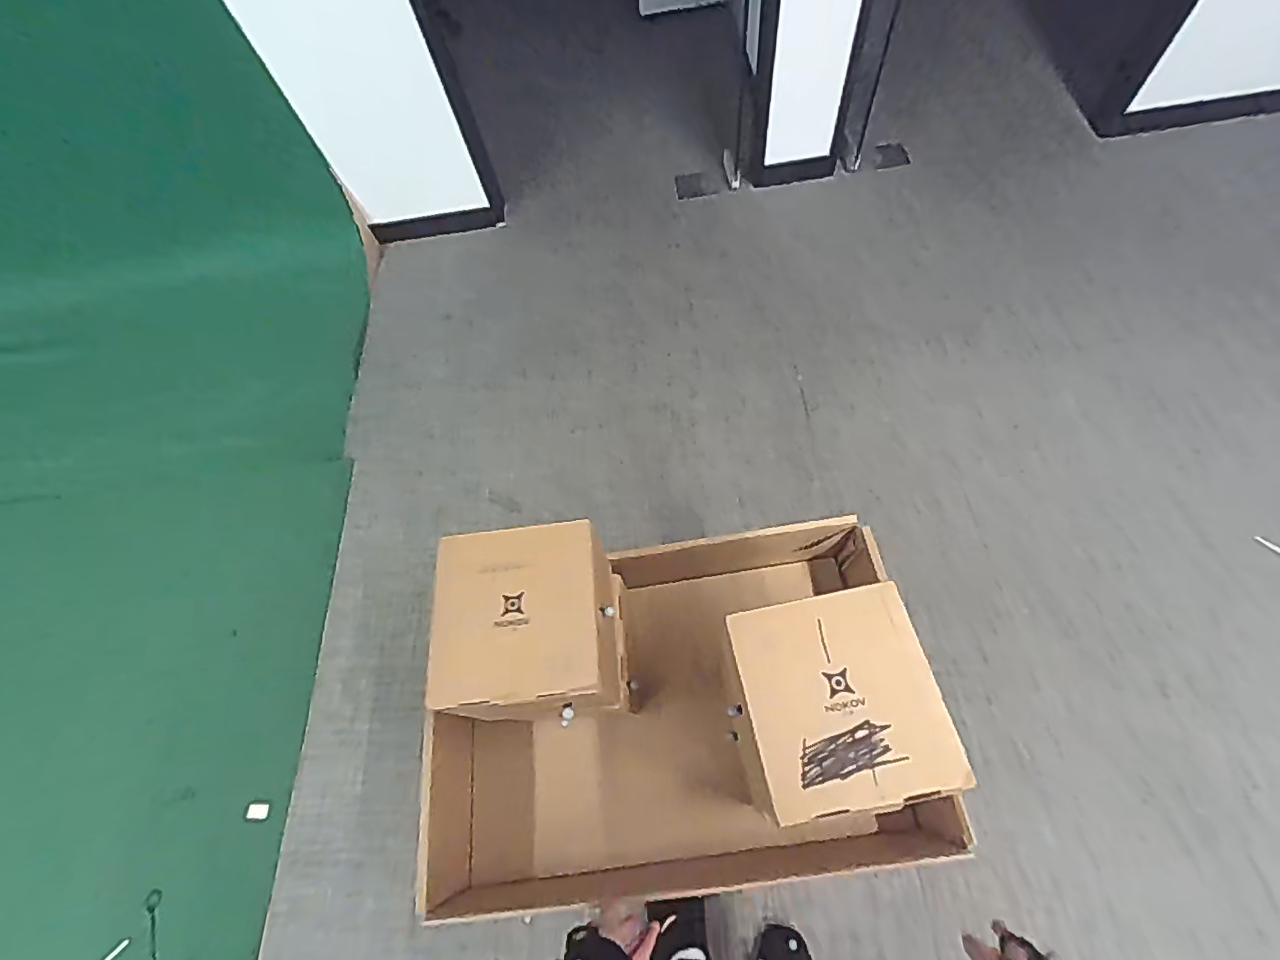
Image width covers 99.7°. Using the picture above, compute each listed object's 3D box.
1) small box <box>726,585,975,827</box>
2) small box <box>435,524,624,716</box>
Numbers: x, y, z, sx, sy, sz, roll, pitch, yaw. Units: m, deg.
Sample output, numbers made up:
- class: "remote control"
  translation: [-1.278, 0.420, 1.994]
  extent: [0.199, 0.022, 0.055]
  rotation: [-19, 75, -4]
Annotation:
- class: "small box"
  translation: [0.187, 0.225, 0.545]
  extent: [0.168, 0.176, 0.179]
  rotation: [-12, 62, 1]
- class: "small box"
  translation: [-0.111, 0.167, 0.612]
  extent: [0.168, 0.176, 0.179]
  rotation: [-6, 63, 2]
